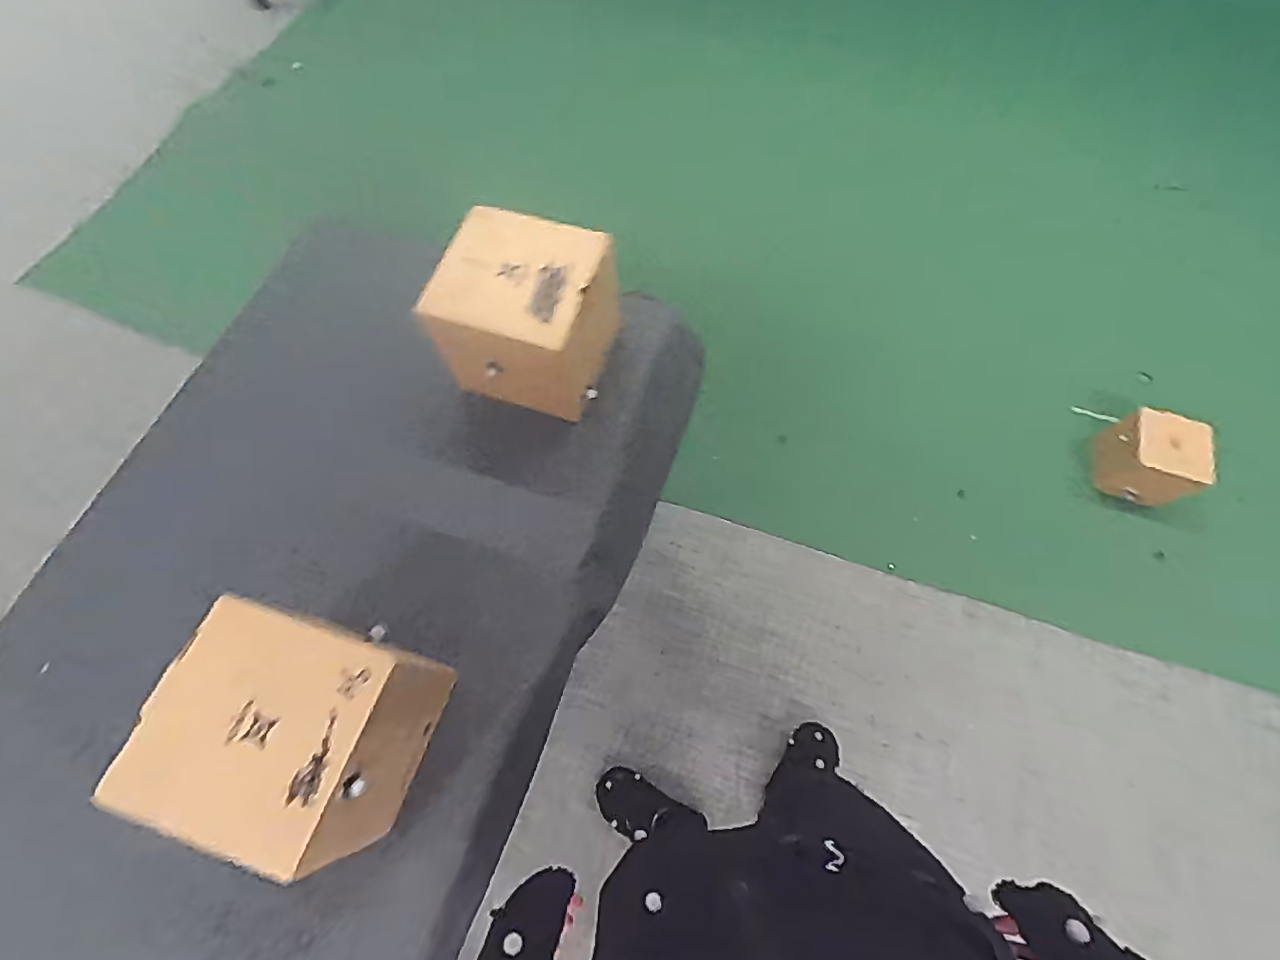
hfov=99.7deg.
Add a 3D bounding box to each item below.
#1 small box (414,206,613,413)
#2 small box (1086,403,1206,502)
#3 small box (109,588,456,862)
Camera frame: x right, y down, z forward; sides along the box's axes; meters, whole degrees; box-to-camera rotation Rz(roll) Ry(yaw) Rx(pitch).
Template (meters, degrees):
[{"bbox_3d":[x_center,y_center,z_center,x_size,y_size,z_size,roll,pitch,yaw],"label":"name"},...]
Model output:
[{"bbox_3d":[-0.142,-0.206,0.688,0.179,0.176,0.168,17,70,8],"label":"small box"},{"bbox_3d":[1.318,-0.068,1.419,0.168,0.176,0.179,18,70,9],"label":"small box"},{"bbox_3d":[-0.309,0.221,0.513,0.179,0.176,0.168,16,68,8],"label":"small box"}]
